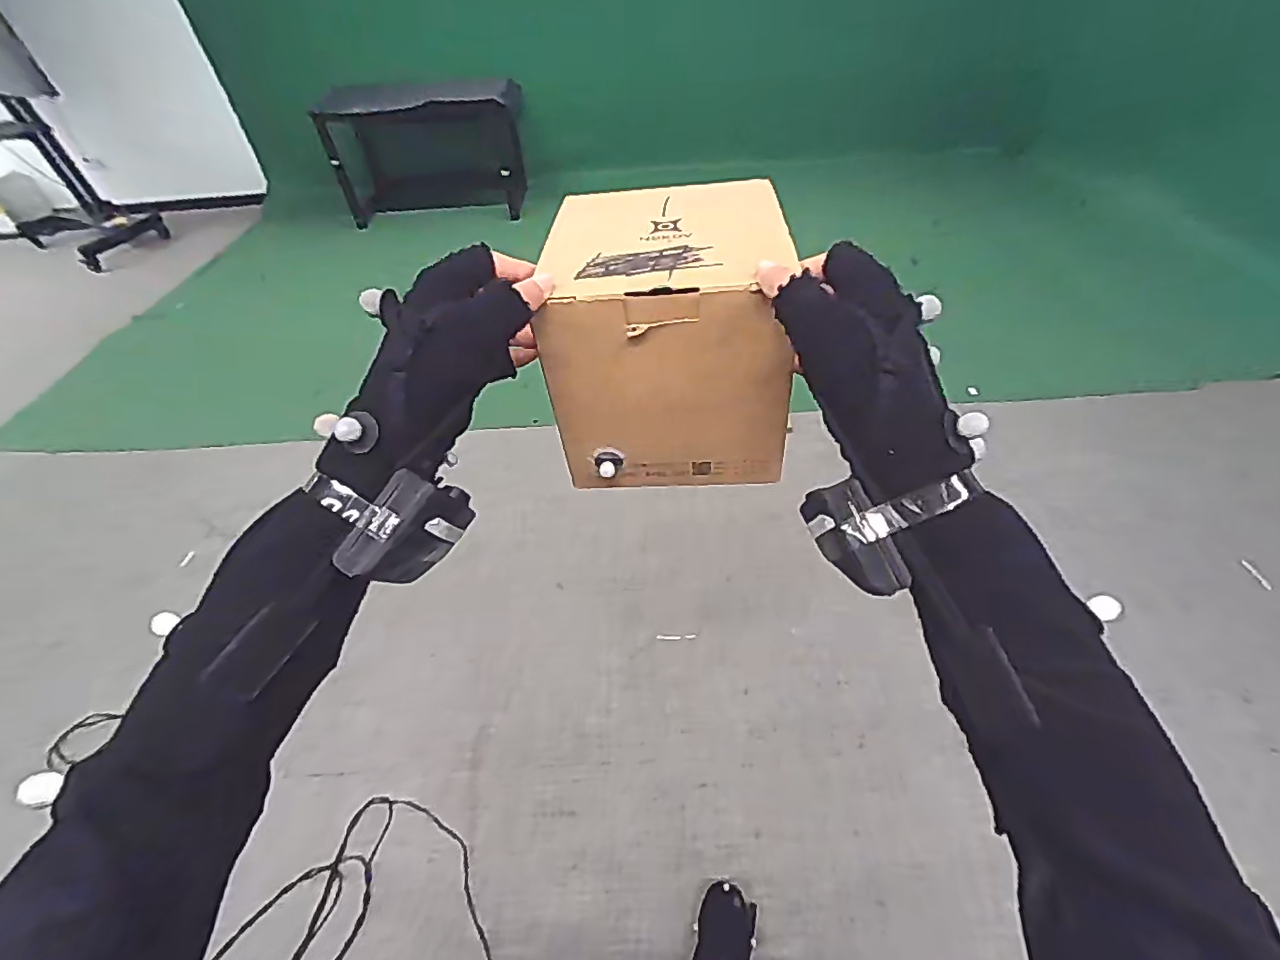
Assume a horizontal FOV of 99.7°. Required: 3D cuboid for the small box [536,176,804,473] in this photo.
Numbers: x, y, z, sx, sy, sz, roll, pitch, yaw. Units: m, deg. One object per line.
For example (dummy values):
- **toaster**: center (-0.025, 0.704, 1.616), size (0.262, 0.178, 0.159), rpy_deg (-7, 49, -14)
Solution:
- **small box**: center (0.030, -0.117, 0.433), size (0.168, 0.176, 0.179), rpy_deg (-2, 45, 6)
